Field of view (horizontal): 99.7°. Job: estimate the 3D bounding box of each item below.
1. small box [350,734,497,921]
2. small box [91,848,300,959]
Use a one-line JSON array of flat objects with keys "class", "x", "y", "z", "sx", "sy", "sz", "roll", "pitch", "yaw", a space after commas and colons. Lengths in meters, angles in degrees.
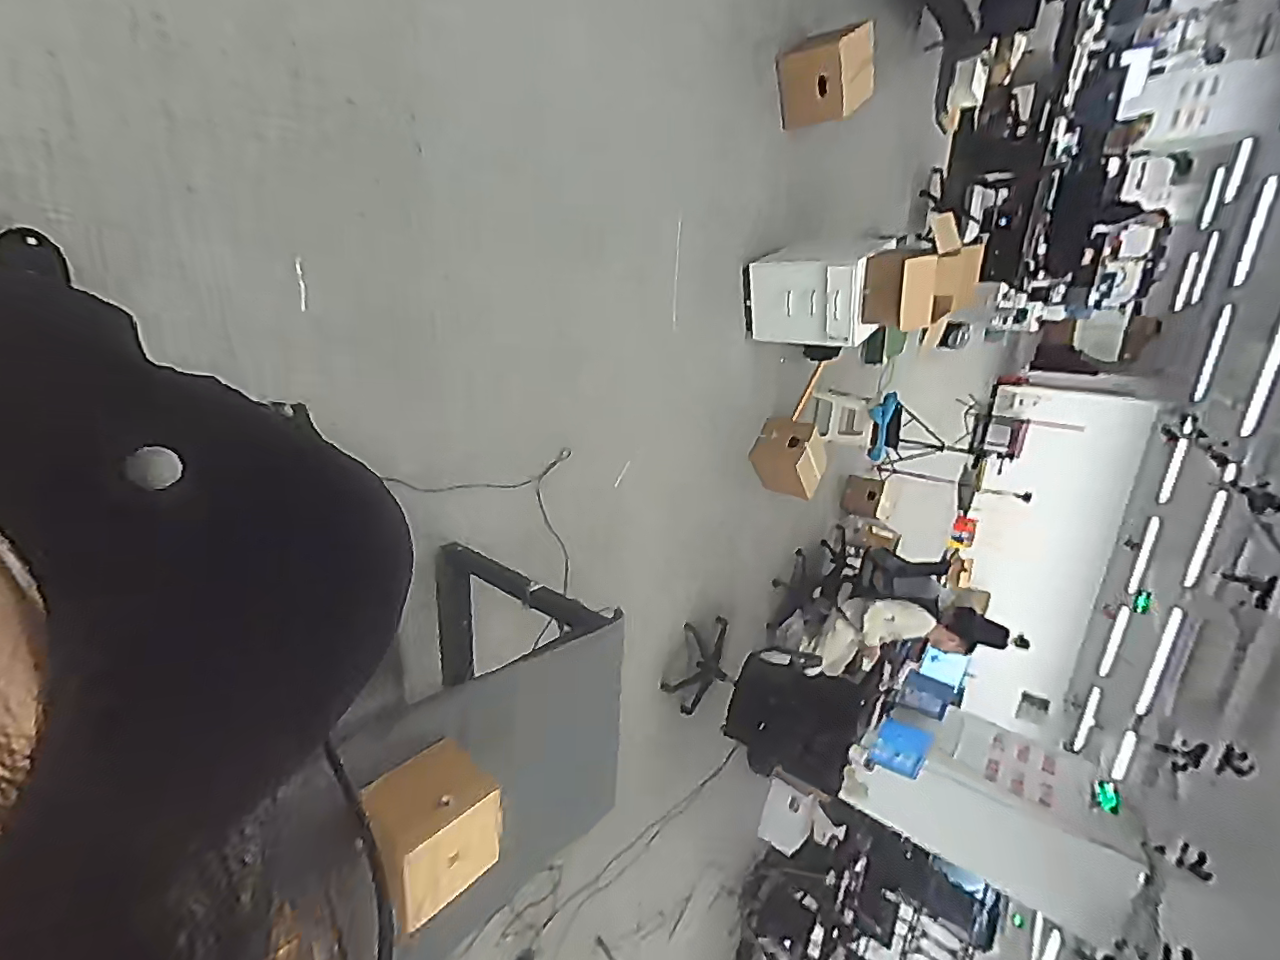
[{"class": "small box", "x": -0.369, "y": 0.580, "z": 0.933, "sx": 0.179, "sy": 0.176, "sz": 0.168, "roll": -17, "pitch": 117, "yaw": -49}, {"class": "small box", "x": -0.562, "y": 0.631, "z": 0.688, "sx": 0.179, "sy": 0.176, "sz": 0.168, "roll": -10, "pitch": 113, "yaw": -53}]
